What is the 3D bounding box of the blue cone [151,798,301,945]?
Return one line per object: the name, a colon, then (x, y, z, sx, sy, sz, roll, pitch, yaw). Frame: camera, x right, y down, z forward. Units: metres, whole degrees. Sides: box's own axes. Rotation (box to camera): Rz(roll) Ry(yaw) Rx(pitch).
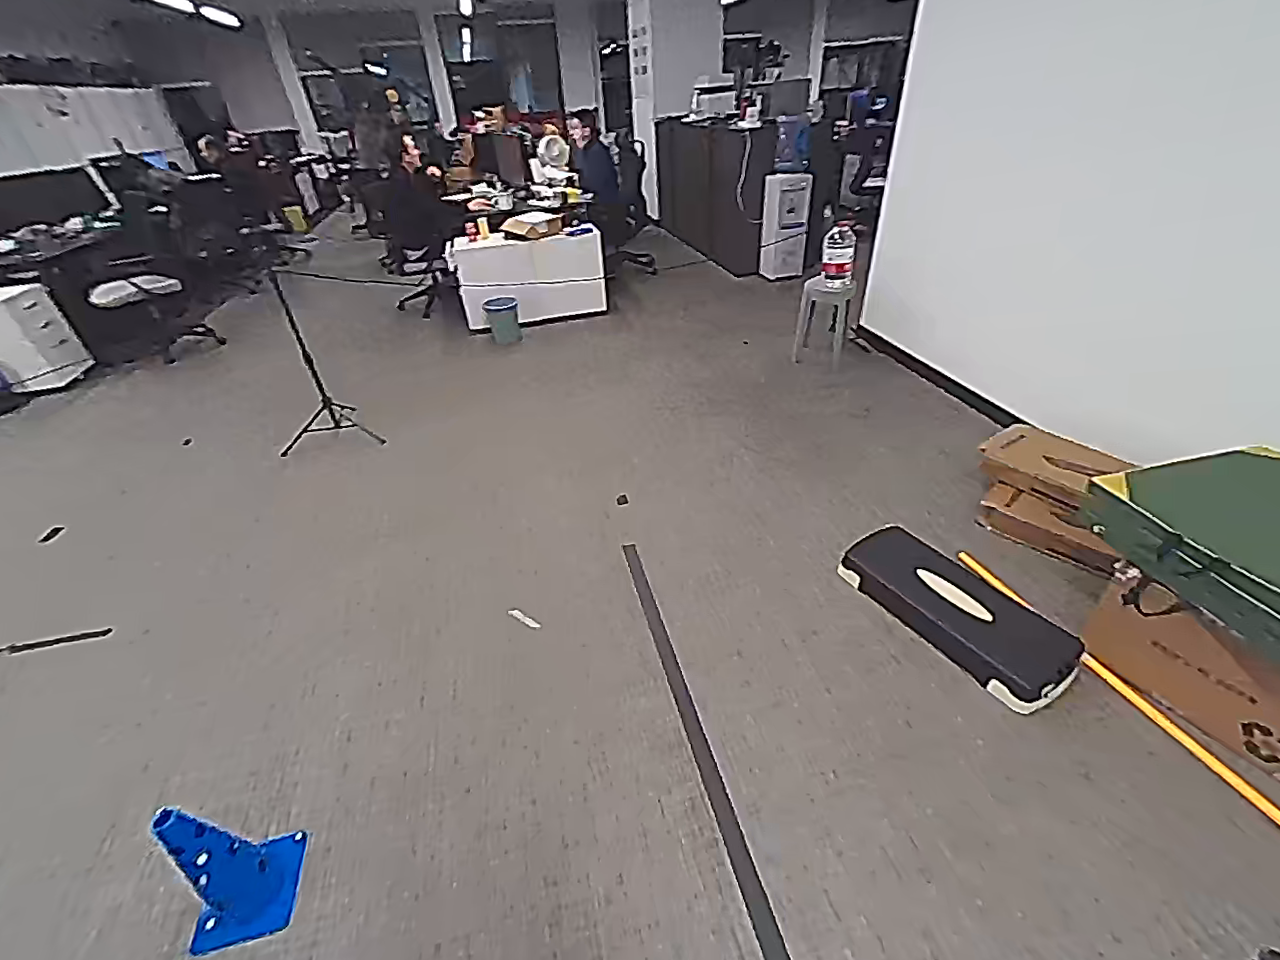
blue cone: (-0.887, 0.776, 1.118, 0.193, 0.380, 0.192, -10, 35, -9)
